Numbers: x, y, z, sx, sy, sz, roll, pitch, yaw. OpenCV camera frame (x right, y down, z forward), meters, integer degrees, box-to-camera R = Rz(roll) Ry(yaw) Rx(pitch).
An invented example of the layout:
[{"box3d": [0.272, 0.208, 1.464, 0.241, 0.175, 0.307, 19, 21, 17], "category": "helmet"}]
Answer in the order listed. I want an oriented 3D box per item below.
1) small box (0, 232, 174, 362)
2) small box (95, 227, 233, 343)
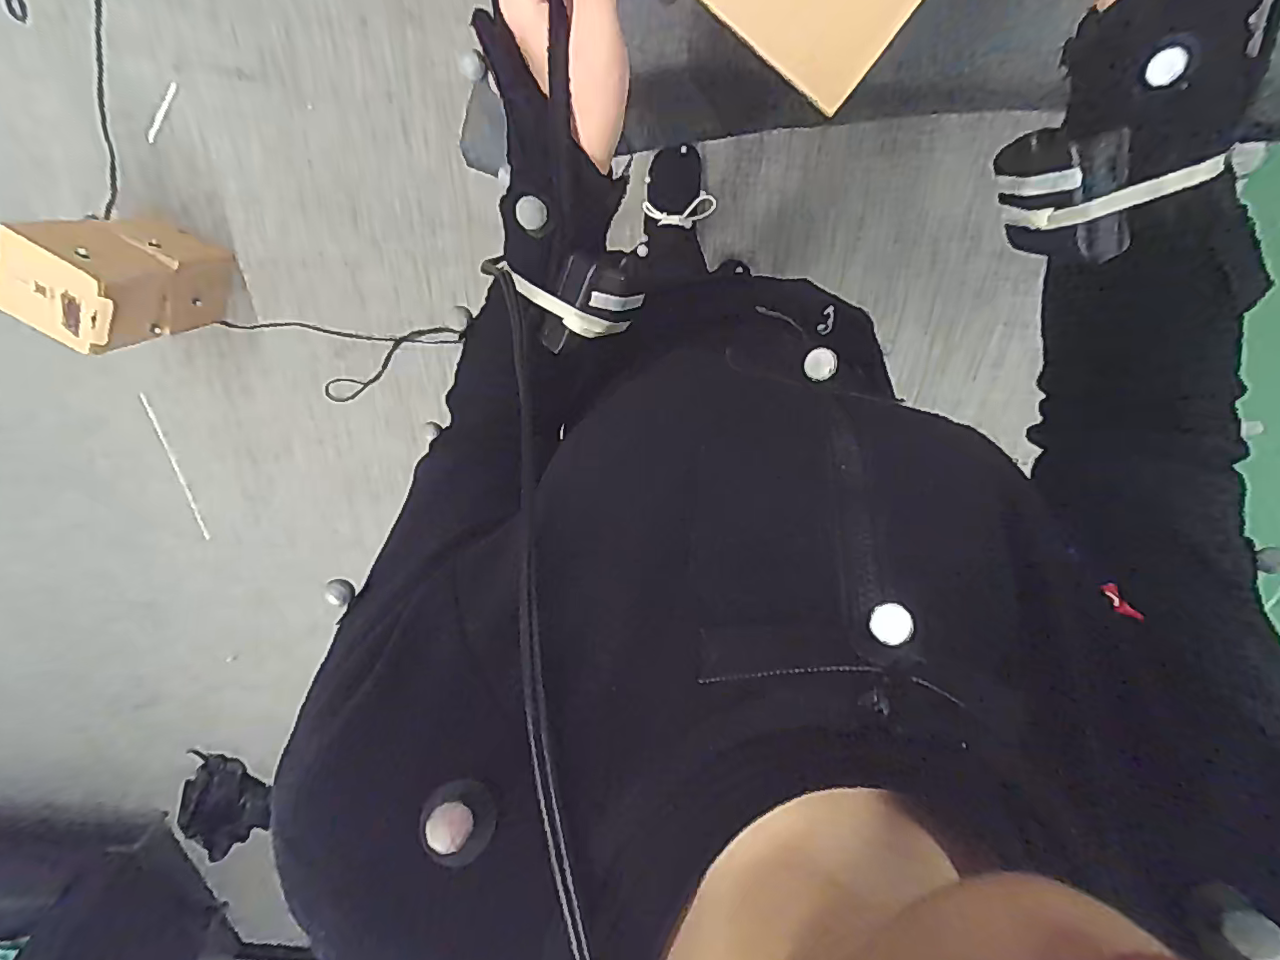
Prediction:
[{"box3d": [-1.066, -0.361, 1.048, 0.179, 0.176, 0.168, 32, 114, -12], "category": "small box"}, {"box3d": [-1.048, -0.434, 1.195, 0.168, 0.176, 0.179, 27, 115, -10], "category": "small box"}]
